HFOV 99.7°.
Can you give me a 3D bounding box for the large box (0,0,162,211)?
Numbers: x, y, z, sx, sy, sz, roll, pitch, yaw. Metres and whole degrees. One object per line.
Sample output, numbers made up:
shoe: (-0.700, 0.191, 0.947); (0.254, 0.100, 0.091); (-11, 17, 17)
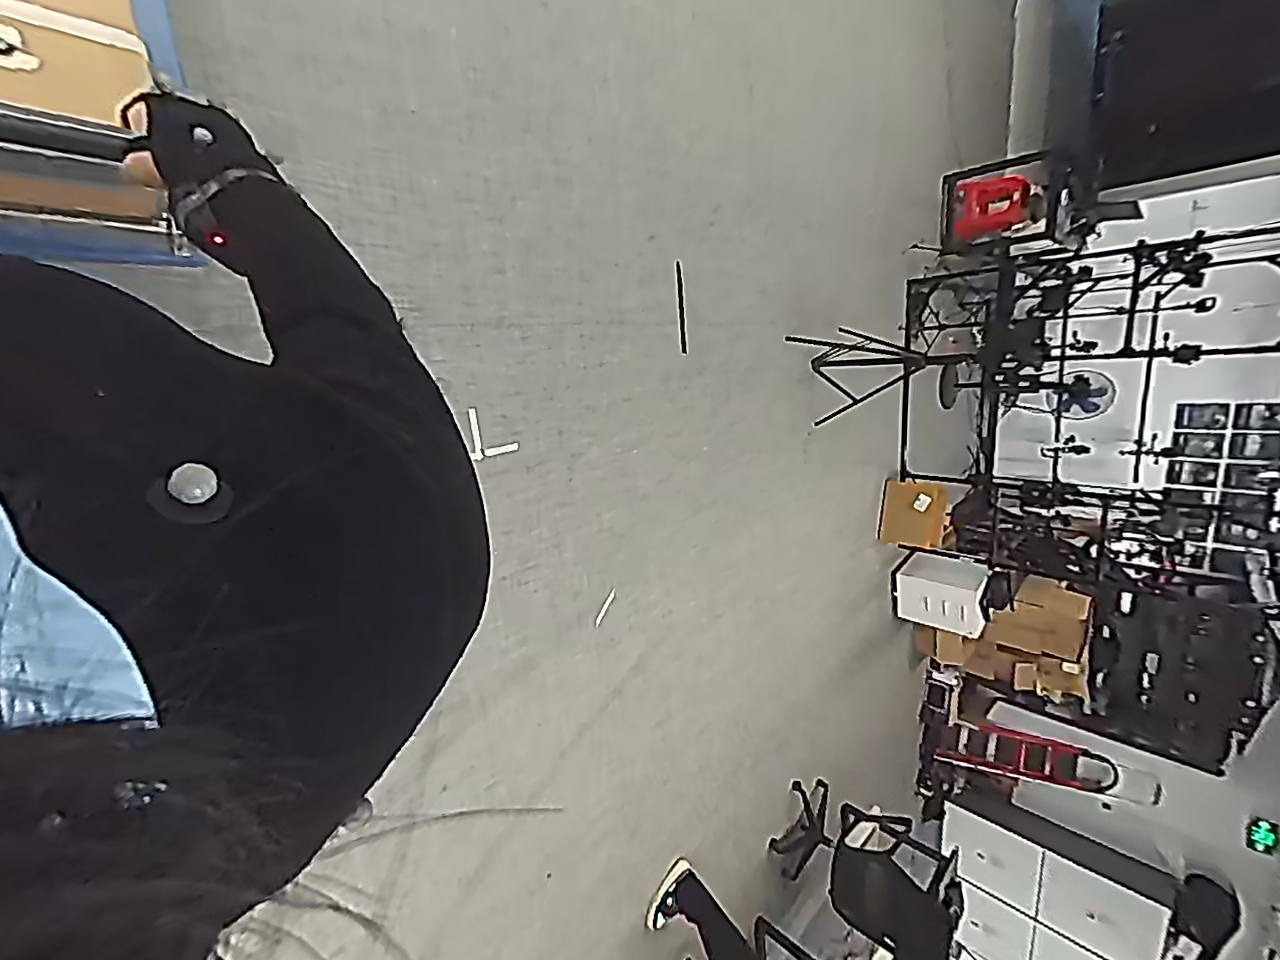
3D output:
large box: (-0.939, -0.578, 0.707); (0.408, 0.320, 0.320); (-15, 108, -45)
